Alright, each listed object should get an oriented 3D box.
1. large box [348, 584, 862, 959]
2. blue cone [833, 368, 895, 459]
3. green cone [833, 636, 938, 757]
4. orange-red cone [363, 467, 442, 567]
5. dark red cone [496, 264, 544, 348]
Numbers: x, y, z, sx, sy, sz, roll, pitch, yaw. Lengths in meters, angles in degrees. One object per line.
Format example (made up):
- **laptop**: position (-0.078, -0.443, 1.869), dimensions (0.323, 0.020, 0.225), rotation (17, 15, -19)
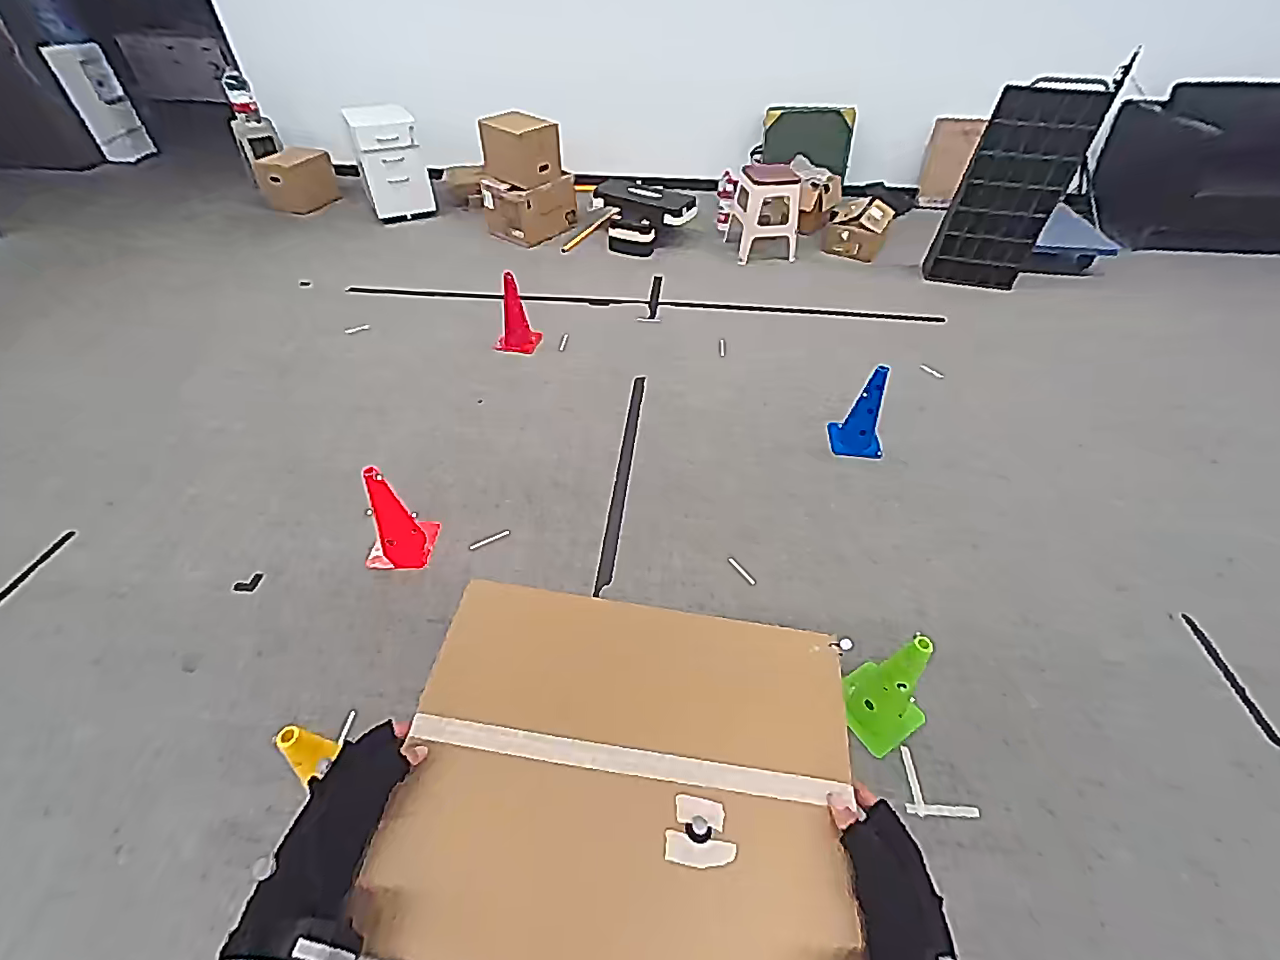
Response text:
- **large box**: position (-0.021, 0.354, 0.611), dimensions (0.408, 0.320, 0.320), rotation (9, 49, 3)
- **blue cone**: position (0.908, -0.274, 2.131), dimensions (0.192, 0.380, 0.193), rotation (8, 46, 5)
- **green cone**: position (0.645, 0.499, 1.346), dimensions (0.202, 0.368, 0.200), rotation (-23, 51, -23)
- **orange-red cone**: position (-0.792, 0.096, 1.714), dimensions (0.198, 0.360, 0.199), rotation (2, 47, 2)
- **dark red cone**: position (-0.593, -0.838, 2.597), dimensions (0.201, 0.394, 0.202), rotation (10, 46, 7)
